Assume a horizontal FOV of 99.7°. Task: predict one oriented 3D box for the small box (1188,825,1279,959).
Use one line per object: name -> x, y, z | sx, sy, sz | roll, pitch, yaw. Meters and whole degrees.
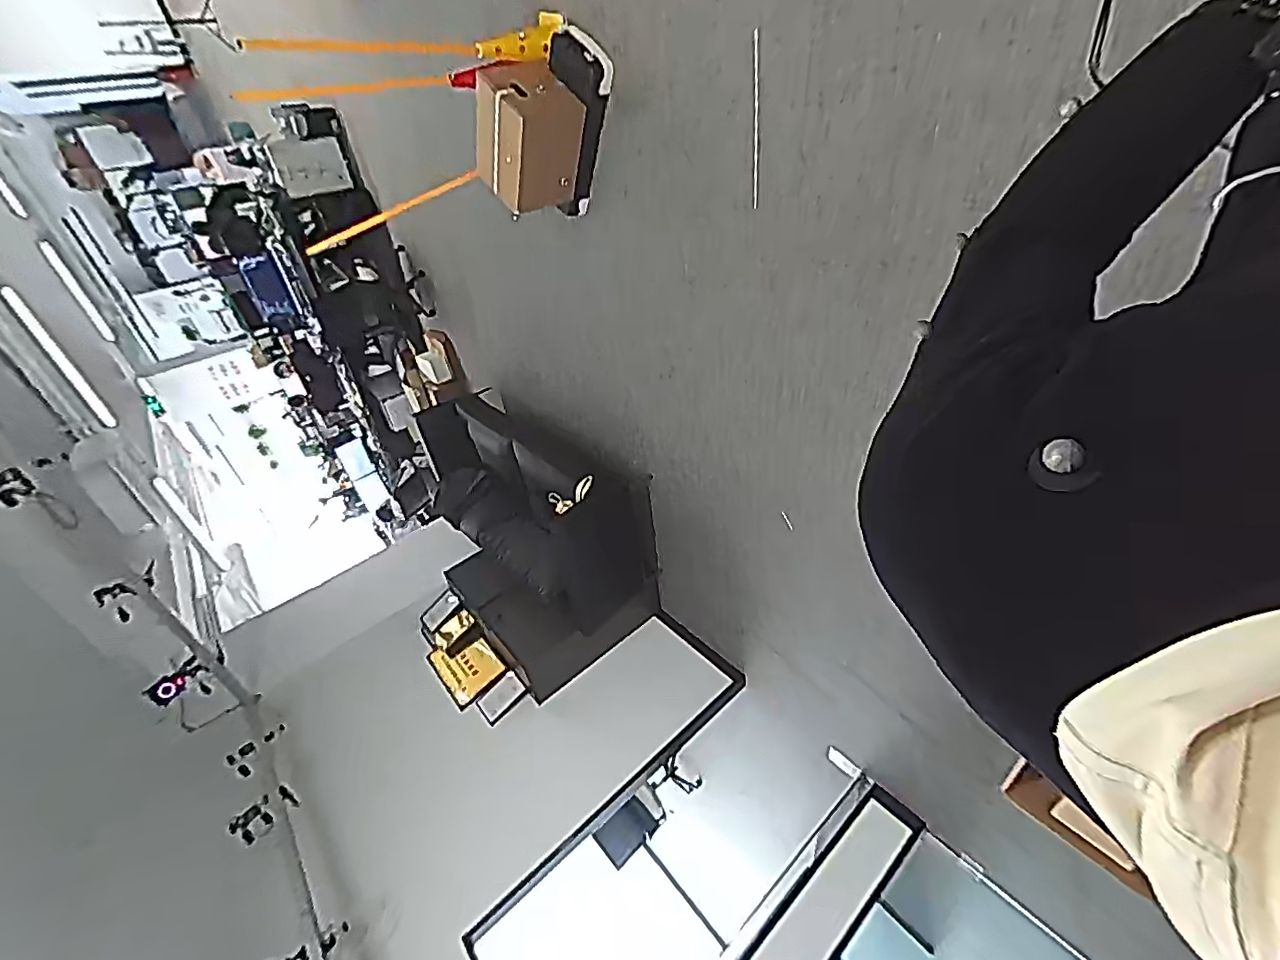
small box -> 1.297, 0.864, 1.107 | 0.179, 0.176, 0.168 | 33, 142, 42
